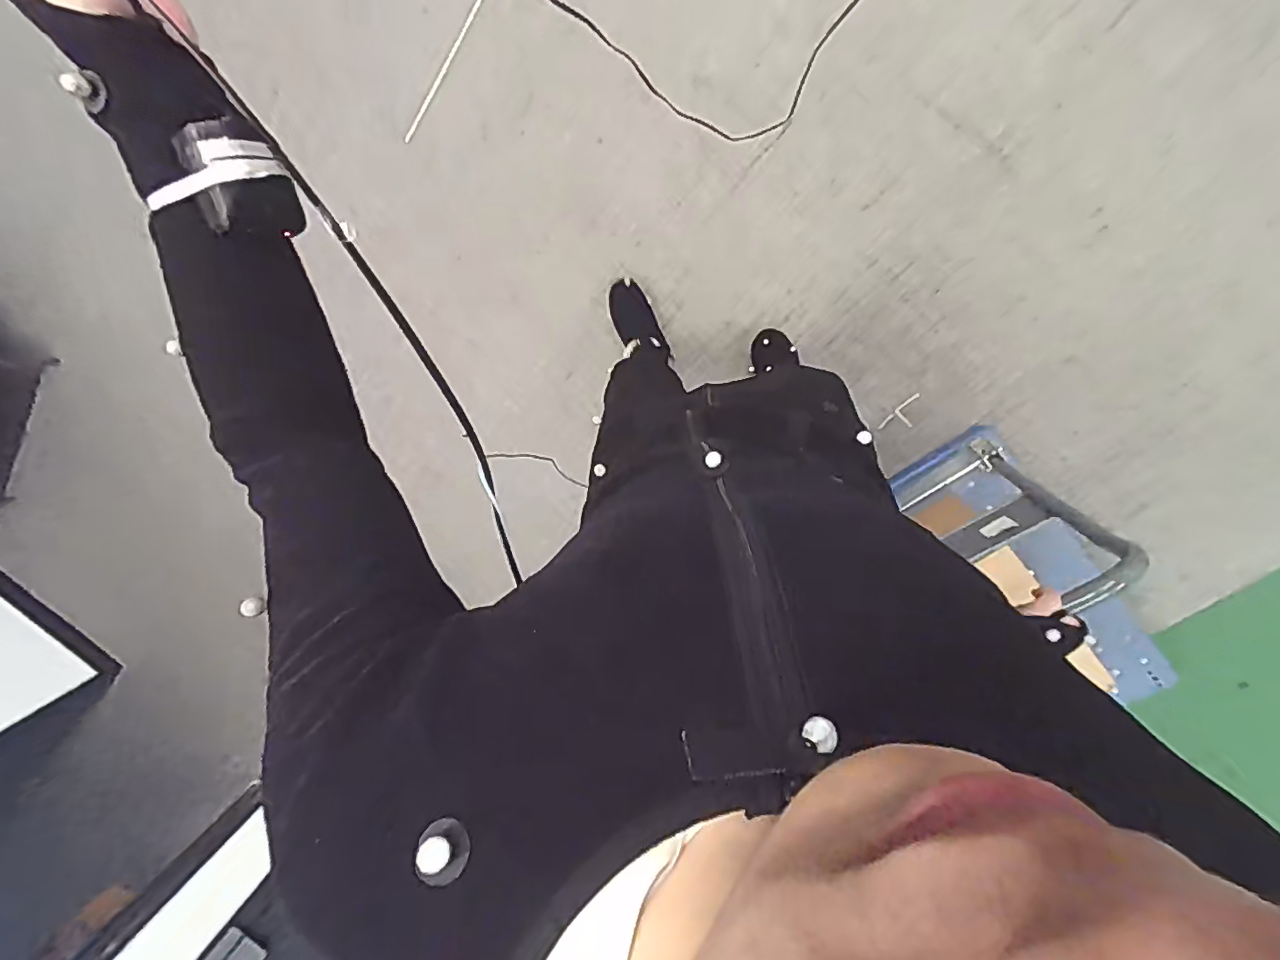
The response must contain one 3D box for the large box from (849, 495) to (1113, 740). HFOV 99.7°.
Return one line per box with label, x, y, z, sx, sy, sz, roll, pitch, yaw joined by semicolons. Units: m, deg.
large box;0.773;0.312;1.293;0.320;0.320;0.408;-39;97;21
